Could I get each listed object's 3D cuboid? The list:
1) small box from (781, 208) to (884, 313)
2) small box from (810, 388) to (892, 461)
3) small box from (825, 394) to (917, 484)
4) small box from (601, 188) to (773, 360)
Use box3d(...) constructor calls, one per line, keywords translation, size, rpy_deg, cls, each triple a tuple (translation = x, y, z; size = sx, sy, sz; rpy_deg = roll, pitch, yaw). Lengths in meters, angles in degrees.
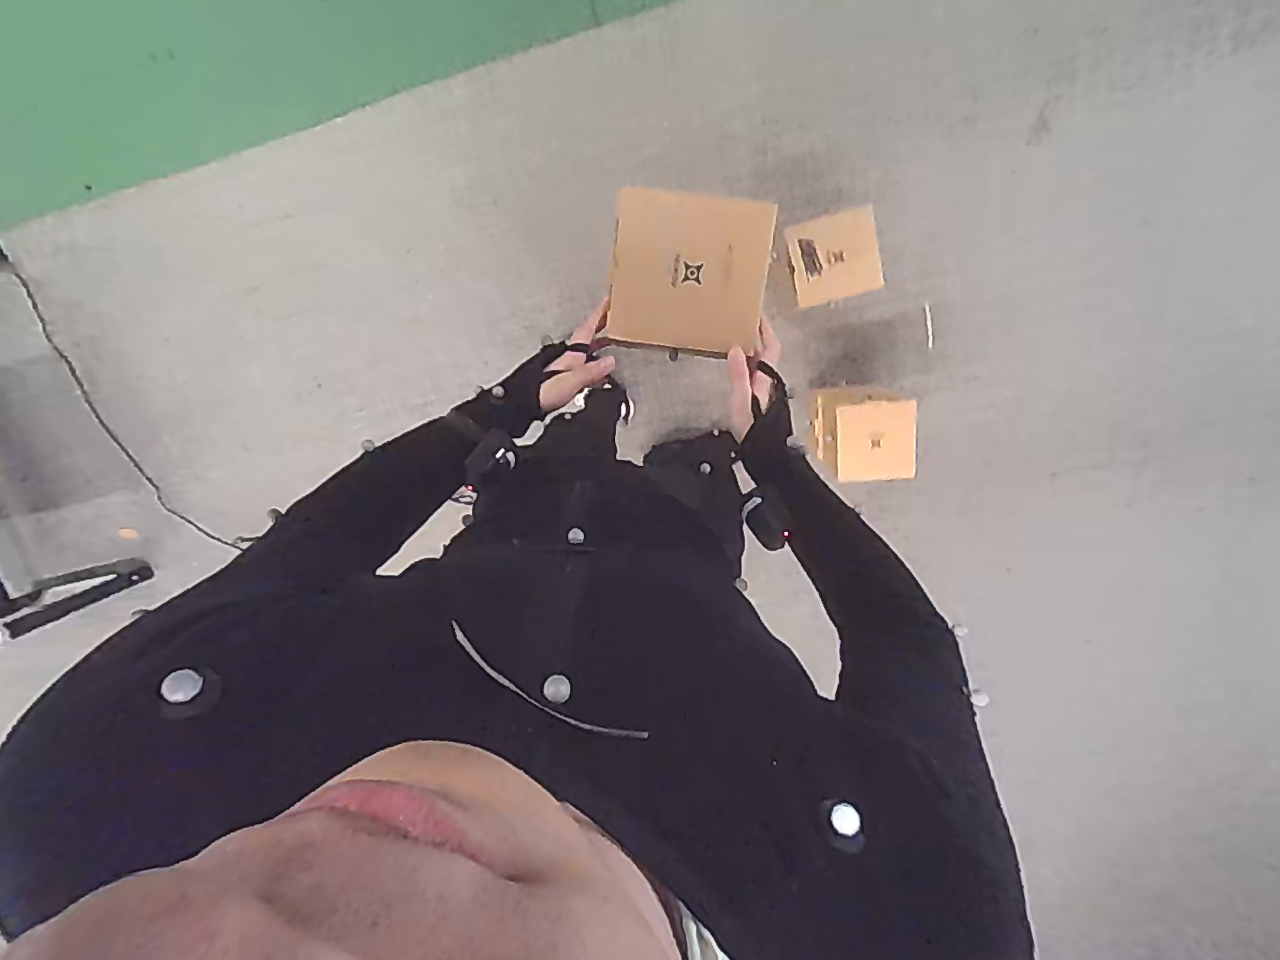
box3d(translation=(0.411, -0.468, 1.183), size=(0.179, 0.176, 0.168), rpy_deg=(-12, 103, 10), cls="small box")
box3d(translation=(0.546, -0.149, 1.420), size=(0.179, 0.176, 0.168), rpy_deg=(-2, 105, 10), cls="small box")
box3d(translation=(0.533, -0.099, 1.265), size=(0.168, 0.176, 0.179), rpy_deg=(-4, 104, 9), cls="small box")
box3d(translation=(0.054, -0.246, 0.685), size=(0.179, 0.176, 0.168), rpy_deg=(7, 101, 1), cls="small box")
